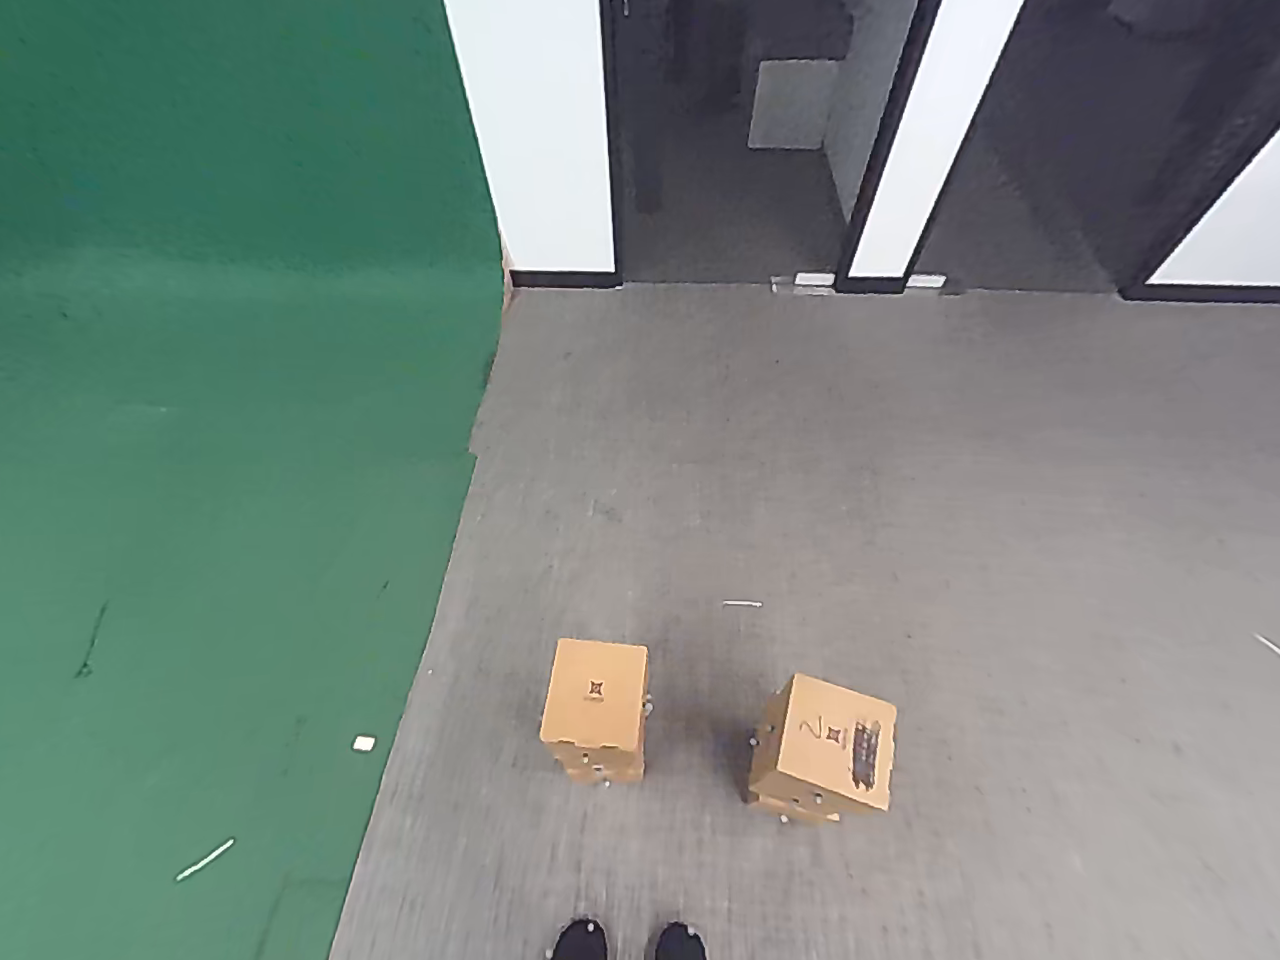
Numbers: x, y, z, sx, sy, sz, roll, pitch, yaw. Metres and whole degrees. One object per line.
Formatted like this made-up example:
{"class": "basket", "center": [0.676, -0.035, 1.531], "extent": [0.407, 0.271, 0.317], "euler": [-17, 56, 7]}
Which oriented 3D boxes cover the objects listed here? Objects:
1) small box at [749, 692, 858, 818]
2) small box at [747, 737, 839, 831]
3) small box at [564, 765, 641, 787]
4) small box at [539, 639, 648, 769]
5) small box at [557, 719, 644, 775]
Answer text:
{"class": "small box", "center": [0.322, 0.558, 1.087], "extent": [0.168, 0.176, 0.179], "euler": [14, 57, 11]}
{"class": "small box", "center": [0.341, 0.664, 1.212], "extent": [0.168, 0.176, 0.179], "euler": [11, 56, 9]}
{"class": "small box", "center": [-0.080, 0.603, 1.258], "extent": [0.168, 0.176, 0.179], "euler": [-1, 54, 0]}
{"class": "small box", "center": [-0.077, 0.414, 0.994], "extent": [0.168, 0.176, 0.179], "euler": [5, 55, 4]}
{"class": "small box", "center": [-0.075, 0.505, 1.129], "extent": [0.168, 0.176, 0.179], "euler": [-1, 55, 1]}
